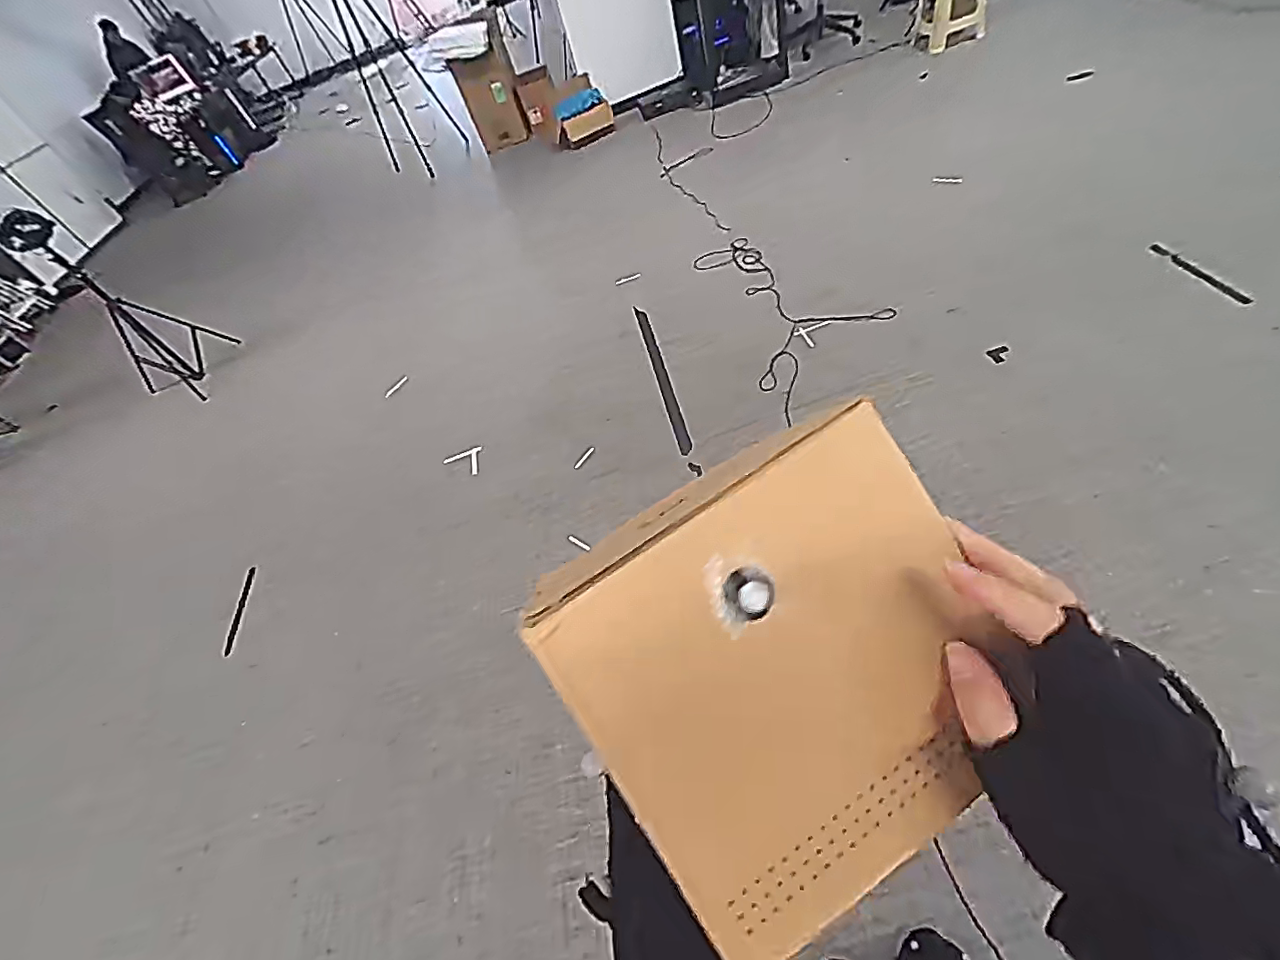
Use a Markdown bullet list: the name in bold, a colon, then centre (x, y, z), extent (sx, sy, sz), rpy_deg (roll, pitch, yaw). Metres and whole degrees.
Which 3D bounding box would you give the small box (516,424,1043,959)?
- **small box**: centre (0.060, 0.097, 0.297), extent (0.179, 0.168, 0.176), rpy_deg (-32, 89, -7)
